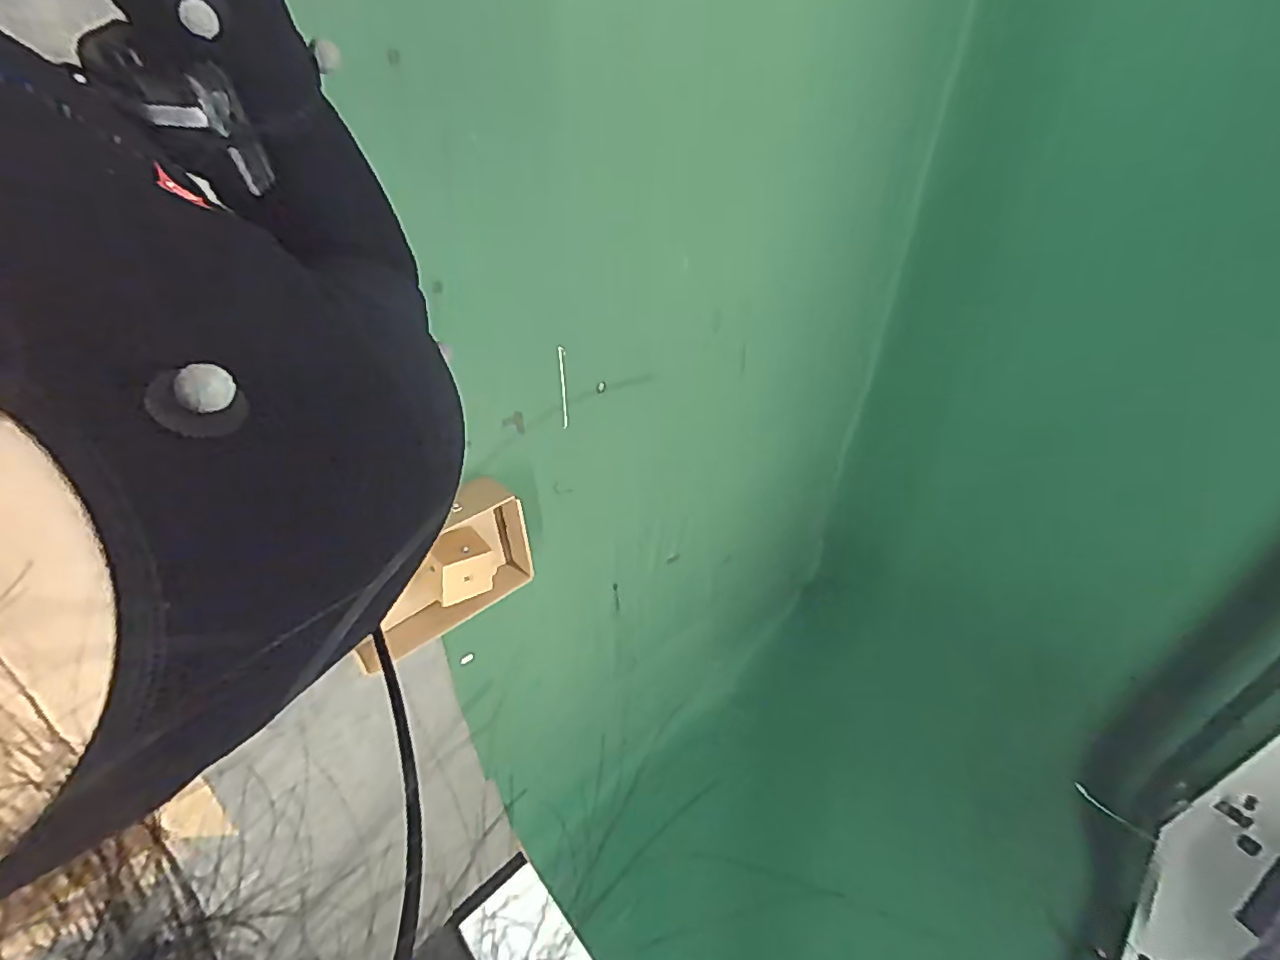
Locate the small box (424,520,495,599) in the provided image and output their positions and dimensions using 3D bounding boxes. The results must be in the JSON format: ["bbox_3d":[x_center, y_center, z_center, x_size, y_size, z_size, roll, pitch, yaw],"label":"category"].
[{"bbox_3d":[-0.602,0.257,1.790,0.179,0.176,0.168,-17,129,-40],"label":"small box"}]
